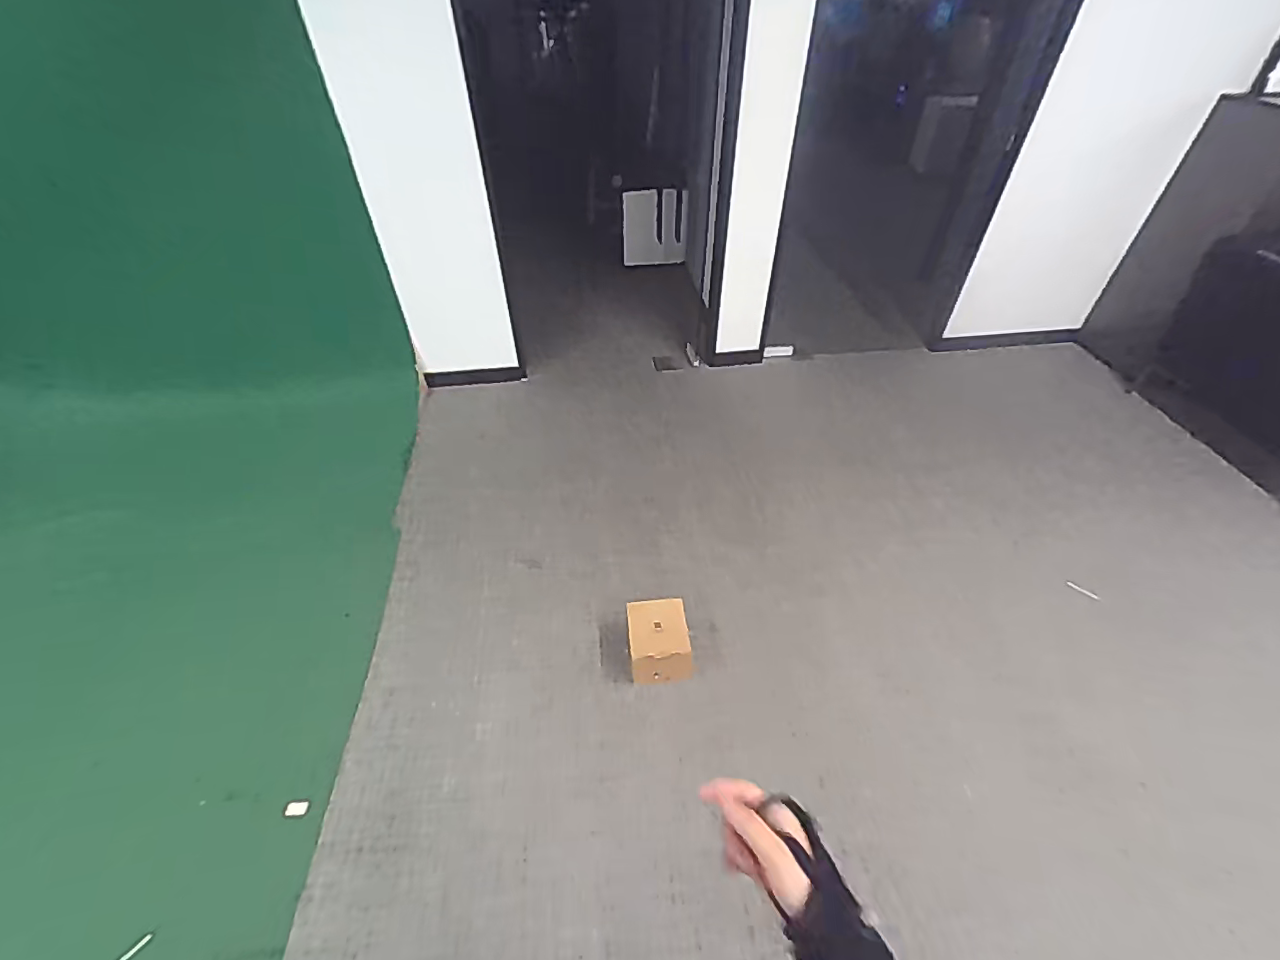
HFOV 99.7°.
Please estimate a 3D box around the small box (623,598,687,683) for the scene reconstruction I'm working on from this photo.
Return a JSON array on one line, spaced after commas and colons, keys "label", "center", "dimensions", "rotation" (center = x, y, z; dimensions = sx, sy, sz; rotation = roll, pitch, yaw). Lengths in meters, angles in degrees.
[{"label": "small box", "center": [0.039, 0.469, 1.576], "dimensions": [0.168, 0.176, 0.179], "rotation": [-4, 45, -5]}]
